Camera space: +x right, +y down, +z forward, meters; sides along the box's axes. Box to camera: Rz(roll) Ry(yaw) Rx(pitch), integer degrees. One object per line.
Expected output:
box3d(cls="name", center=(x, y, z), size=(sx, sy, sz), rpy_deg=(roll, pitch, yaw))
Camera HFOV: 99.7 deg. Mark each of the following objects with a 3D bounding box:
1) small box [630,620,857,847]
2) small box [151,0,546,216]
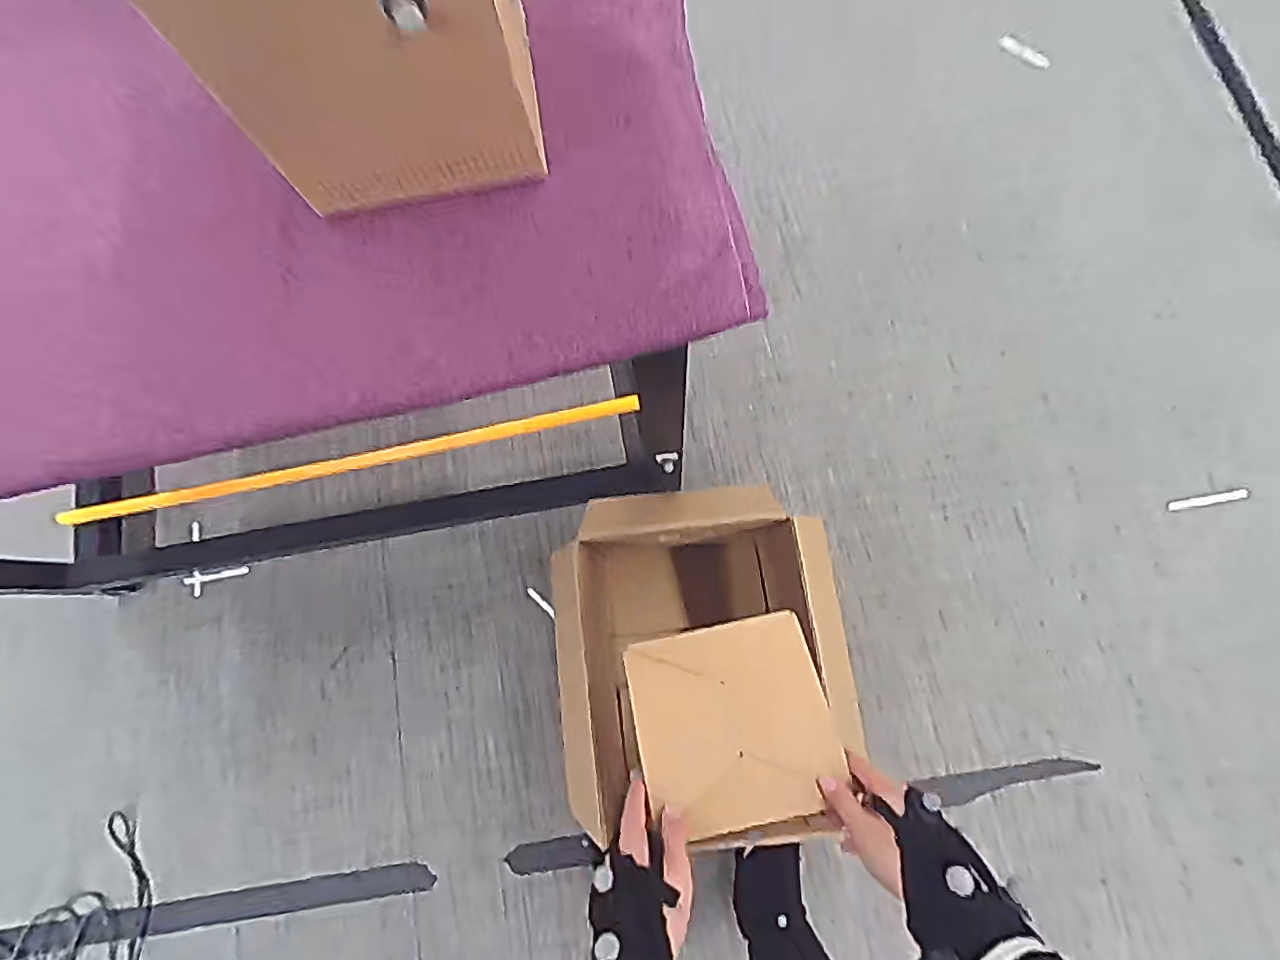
box3d(cls="small box", center=(0.089, 0.258, 0.551), size=(0.179, 0.176, 0.168), rpy_deg=(-11, 57, -3))
box3d(cls="small box", center=(-0.164, -0.307, 0.353), size=(0.179, 0.176, 0.168), rpy_deg=(-10, 75, 1))
